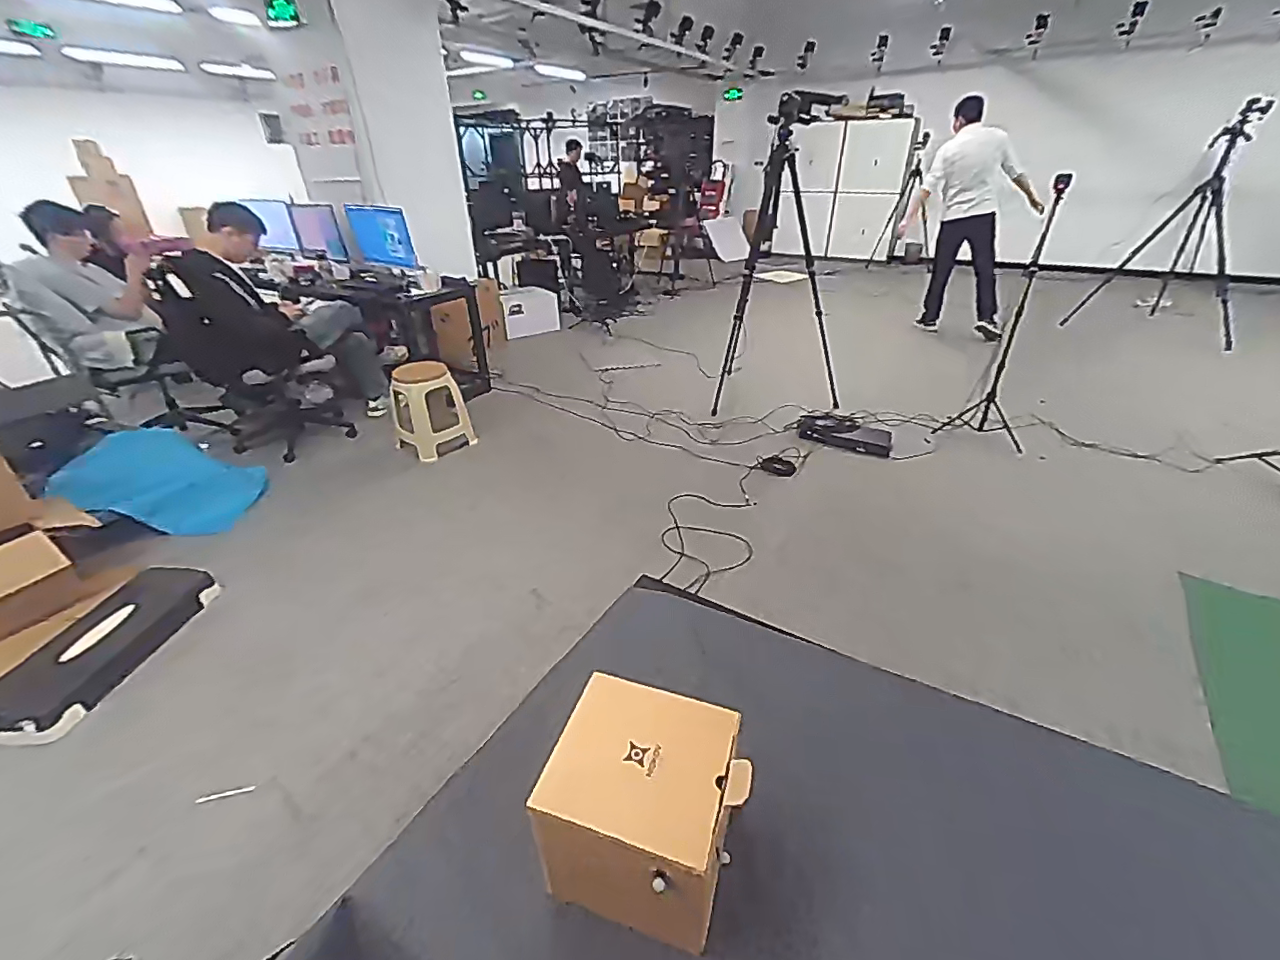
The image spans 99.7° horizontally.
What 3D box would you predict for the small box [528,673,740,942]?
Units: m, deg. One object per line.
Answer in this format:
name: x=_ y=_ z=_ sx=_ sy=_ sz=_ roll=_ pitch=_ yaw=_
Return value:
small box: x=0.002 y=0.346 z=0.583 sx=0.179 sy=0.176 sz=0.168 roll=10 pitch=31 yaw=16
